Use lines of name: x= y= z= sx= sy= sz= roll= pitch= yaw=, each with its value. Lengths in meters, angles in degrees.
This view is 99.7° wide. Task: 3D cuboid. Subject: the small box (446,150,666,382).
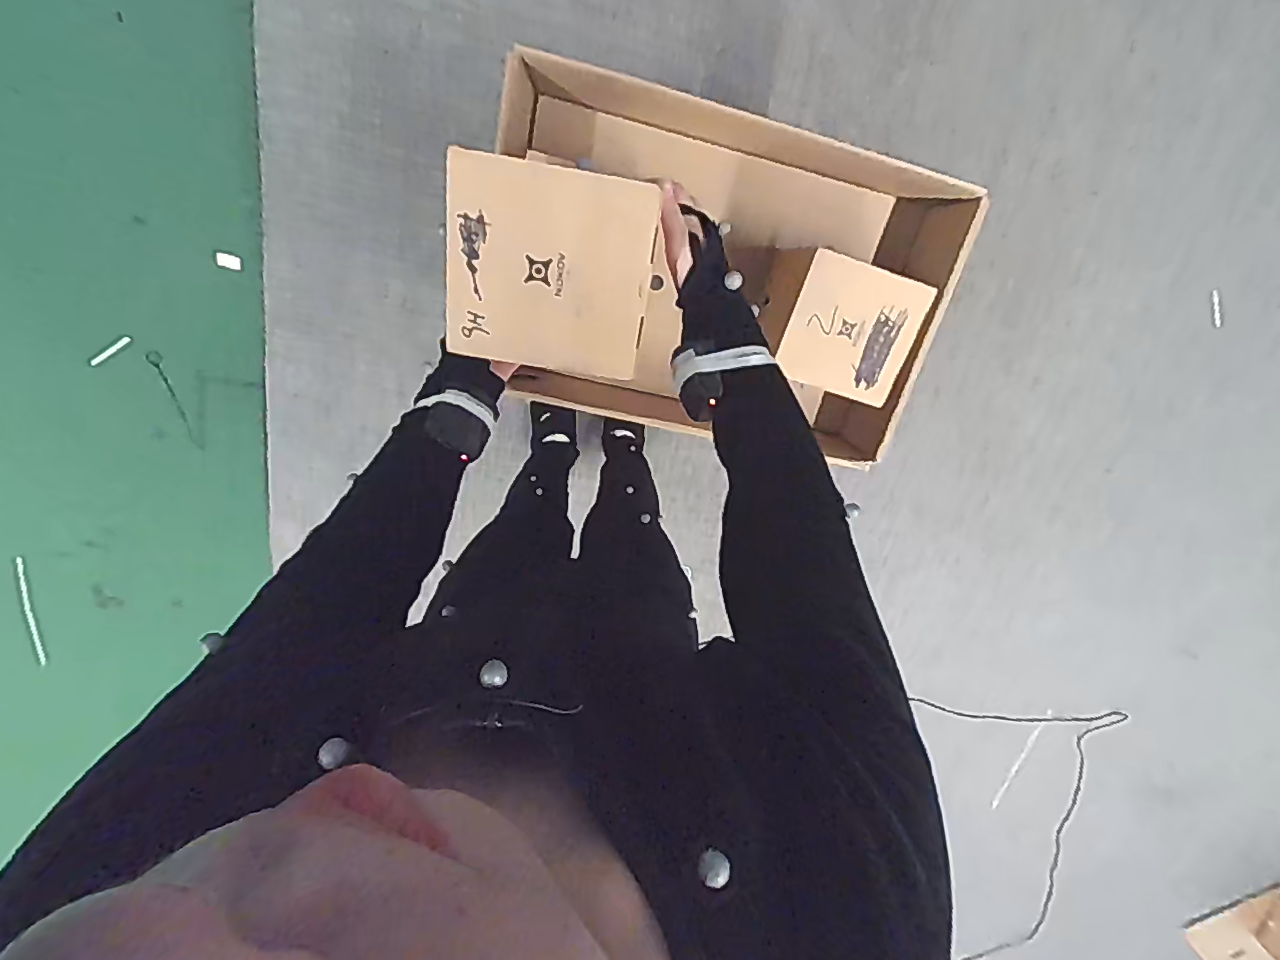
small box: x=-0.079 y=-0.210 z=0.534 sx=0.179 sy=0.176 sz=0.168 roll=8 pitch=116 yaw=-5
